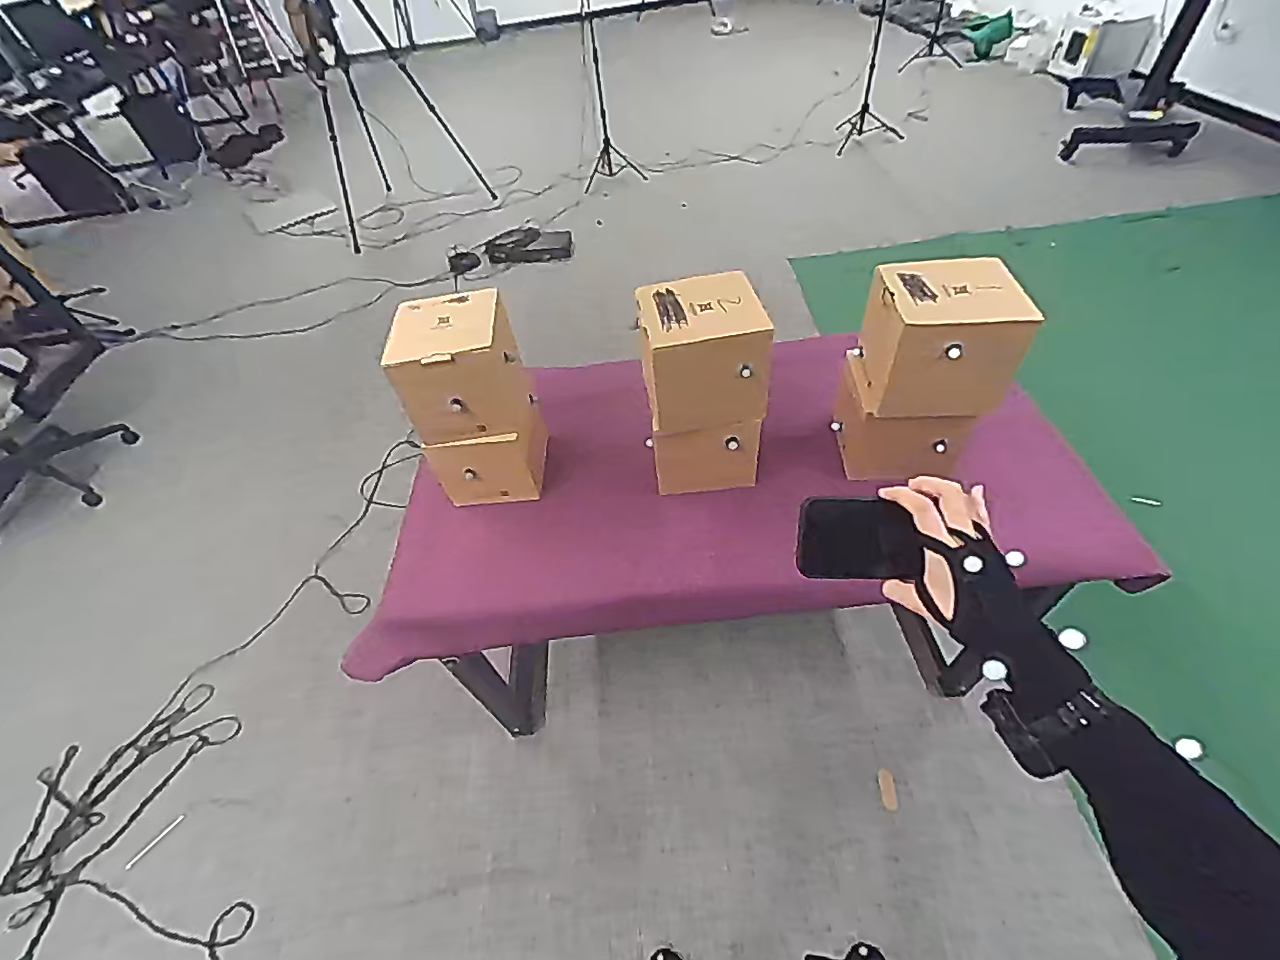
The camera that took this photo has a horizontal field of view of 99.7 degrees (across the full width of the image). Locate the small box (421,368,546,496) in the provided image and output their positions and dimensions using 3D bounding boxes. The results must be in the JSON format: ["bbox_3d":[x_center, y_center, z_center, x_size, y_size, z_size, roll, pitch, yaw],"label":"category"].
[{"bbox_3d":[-0.280,-0.082,1.013,0.168,0.176,0.179,-5,49,4],"label":"small box"}]

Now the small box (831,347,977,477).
[{"bbox_3d":[0.448,-0.118,0.949,0.179,0.176,0.168,0,50,8],"label":"small box"}]

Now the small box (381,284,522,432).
[{"bbox_3d":[-0.297,-0.193,0.894,0.168,0.176,0.179,-8,50,0],"label":"small box"}]

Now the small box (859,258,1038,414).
[{"bbox_3d":[0.441,-0.212,0.815,0.179,0.176,0.168,0,50,7],"label":"small box"}]

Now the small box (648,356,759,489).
[{"bbox_3d":[0.109,-0.100,0.976,0.179,0.176,0.168,-5,49,3],"label":"small box"}]
